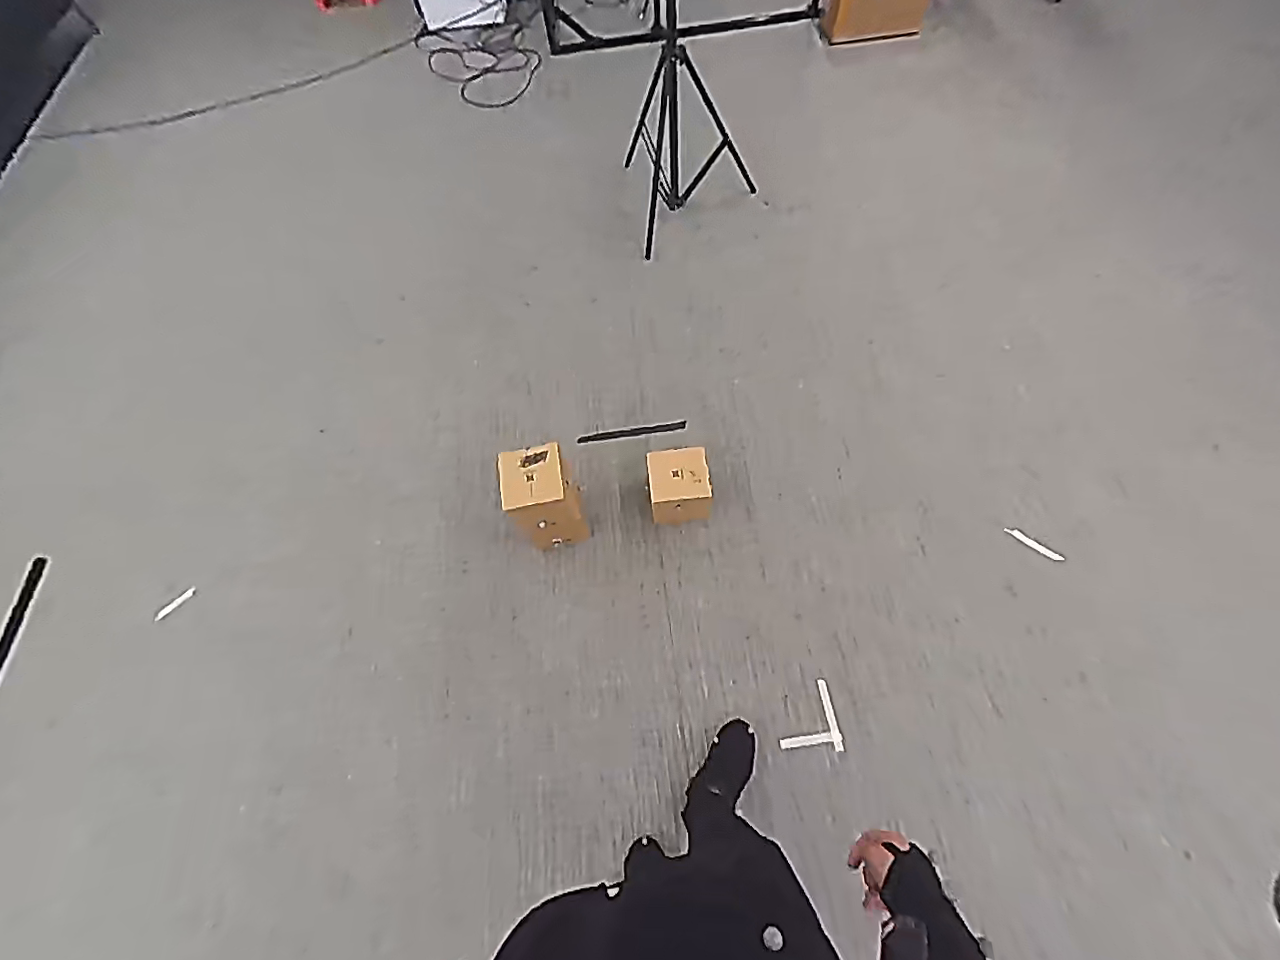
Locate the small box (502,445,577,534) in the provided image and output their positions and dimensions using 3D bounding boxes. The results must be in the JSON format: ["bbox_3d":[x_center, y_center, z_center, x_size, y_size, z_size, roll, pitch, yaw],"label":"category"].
[{"bbox_3d":[-0.276,0.029,1.499,0.168,0.176,0.179,-11,64,1],"label":"small box"}]

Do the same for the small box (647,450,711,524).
[{"bbox_3d":[0.119,0.028,1.646,0.179,0.176,0.168,-6,64,2],"label":"small box"}]

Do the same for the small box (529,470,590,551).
[{"bbox_3d":[-0.256,0.096,1.647,0.168,0.176,0.179,-12,63,-1],"label":"small box"}]
